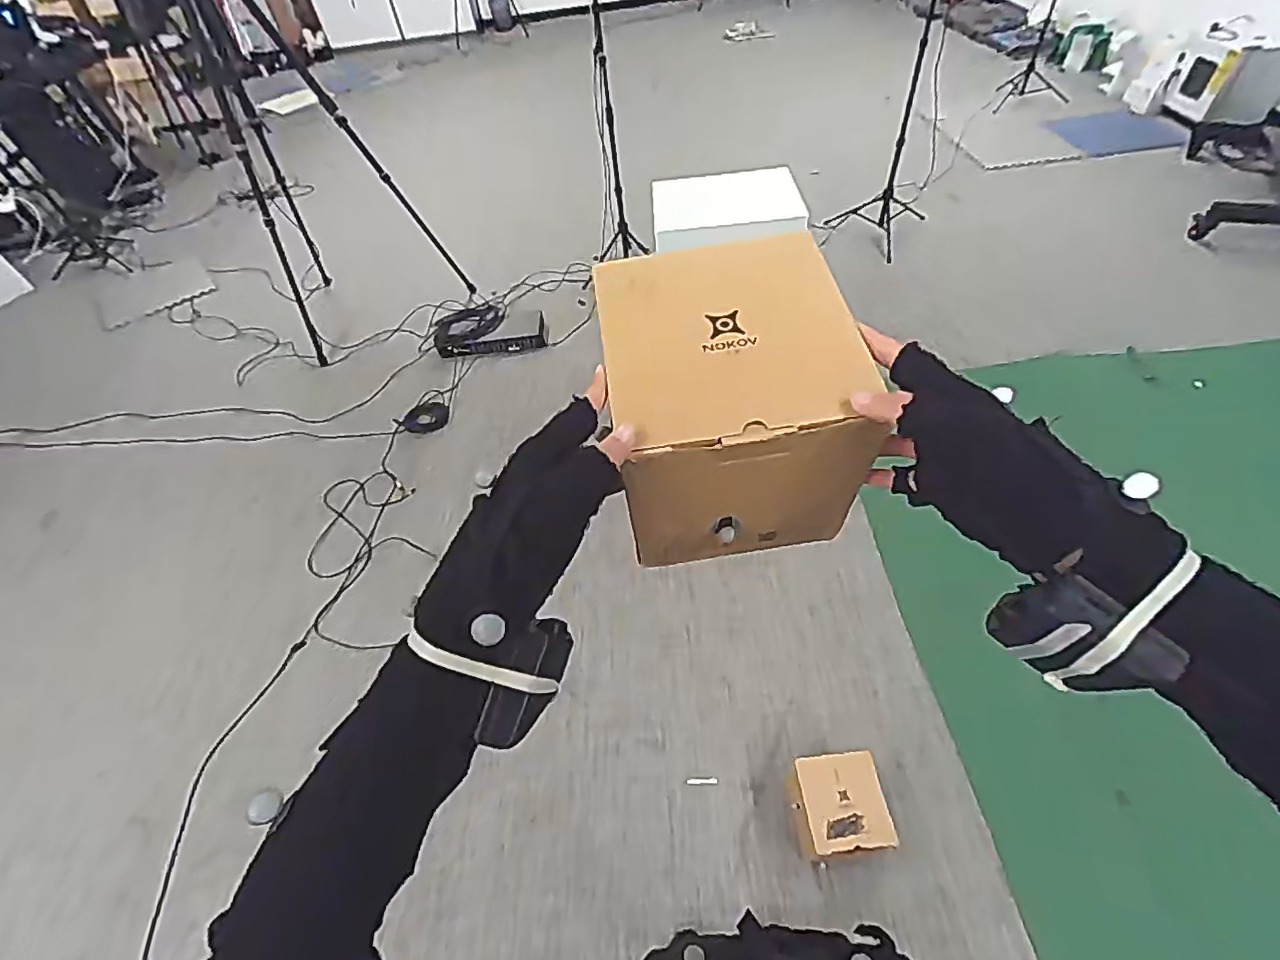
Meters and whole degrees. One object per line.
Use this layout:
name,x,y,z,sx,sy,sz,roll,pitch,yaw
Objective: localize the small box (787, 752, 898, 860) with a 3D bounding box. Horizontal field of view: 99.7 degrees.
small box,0.425,0.706,1.164,0.168,0.176,0.179,-7,50,1
